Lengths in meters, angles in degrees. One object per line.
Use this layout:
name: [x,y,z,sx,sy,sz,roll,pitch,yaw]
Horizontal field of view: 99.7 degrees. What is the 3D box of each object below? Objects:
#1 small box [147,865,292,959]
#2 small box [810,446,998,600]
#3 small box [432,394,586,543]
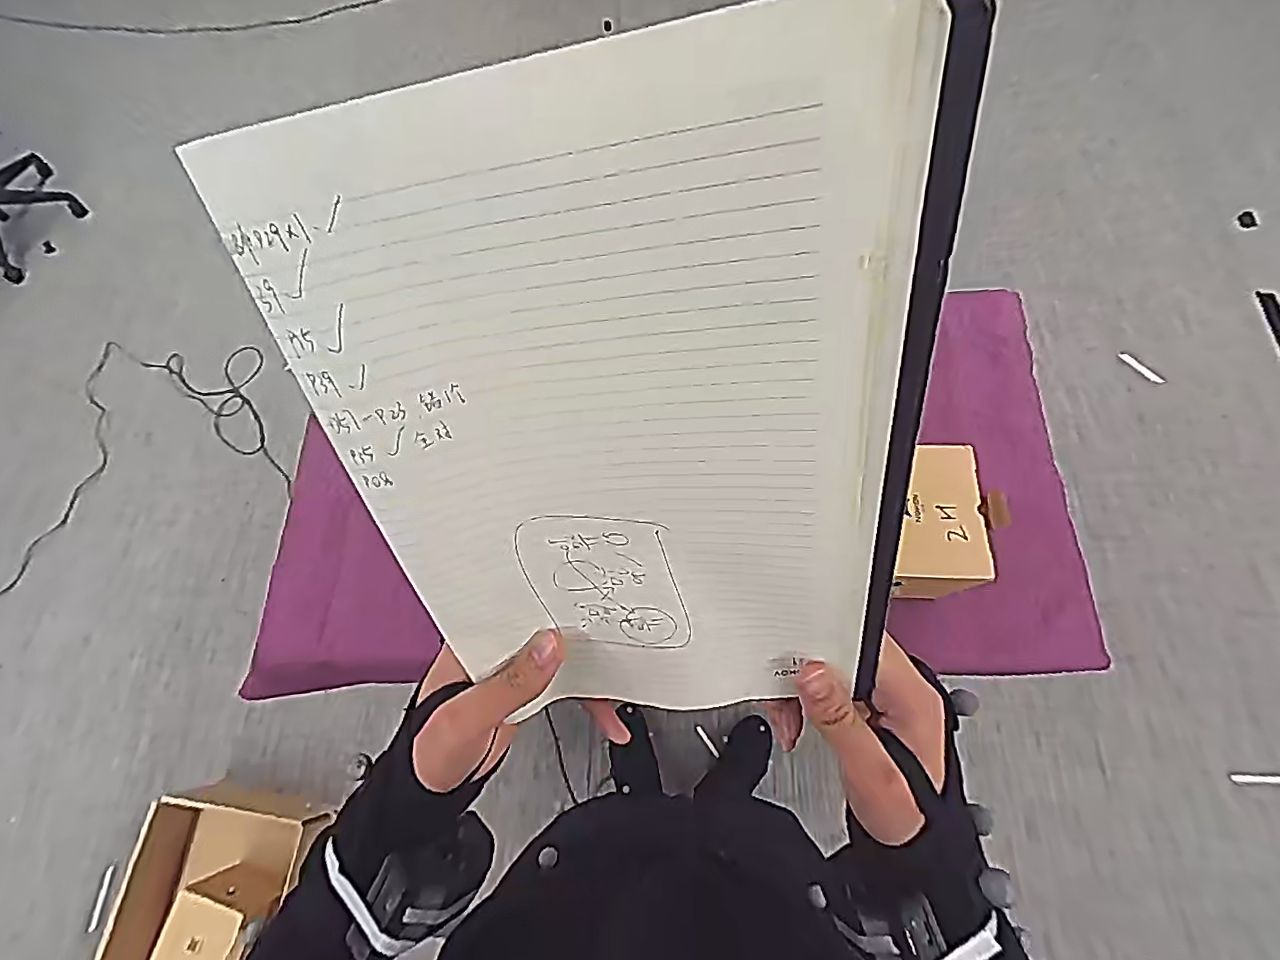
small box: [-0.947,1.016,1.230,0.179,0.176,0.168,13,73,10]
small box: [0.325,0.063,0.711,0.179,0.176,0.168,1,71,6]
small box: [-0.177,-0.008,0.789,0.168,0.176,0.179,0,70,6]
